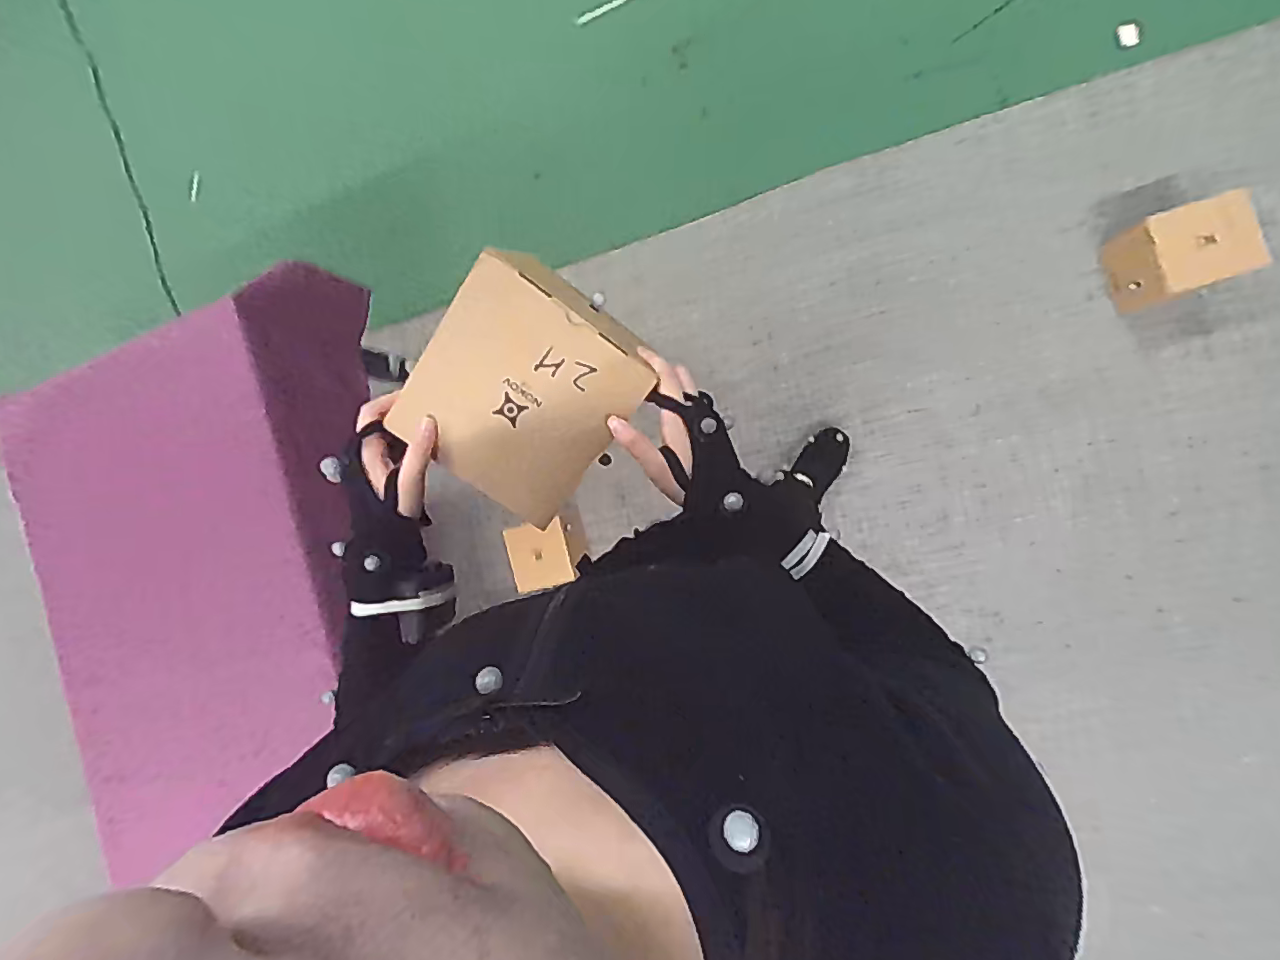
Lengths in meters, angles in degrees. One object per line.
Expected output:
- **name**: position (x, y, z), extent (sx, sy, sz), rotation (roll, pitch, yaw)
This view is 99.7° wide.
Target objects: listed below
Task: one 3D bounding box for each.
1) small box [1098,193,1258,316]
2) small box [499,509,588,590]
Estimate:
- **small box**: position (1.138, -0.473, 1.165), extent (0.179, 0.176, 0.168), rotation (-15, 89, 12)
- **small box**: position (-0.261, 0.187, 1.503), extent (0.168, 0.176, 0.179), rotation (-16, 88, 13)
